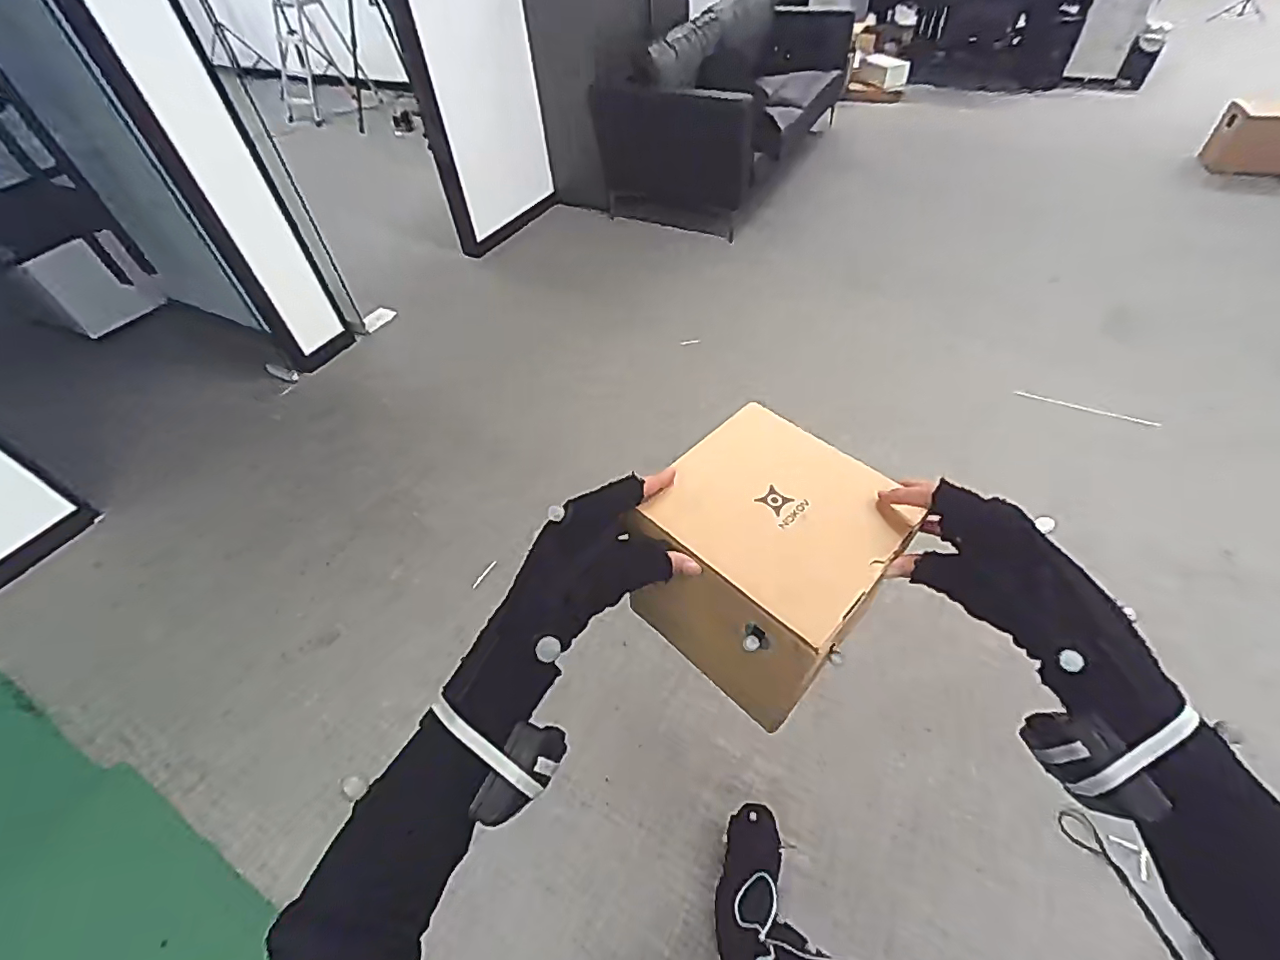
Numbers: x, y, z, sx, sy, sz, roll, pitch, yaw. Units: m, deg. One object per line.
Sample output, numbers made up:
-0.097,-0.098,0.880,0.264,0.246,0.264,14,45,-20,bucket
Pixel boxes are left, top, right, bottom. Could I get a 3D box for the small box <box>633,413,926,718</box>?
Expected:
0.108,0.077,0.487,0.179,0.176,0.168,37,58,27,small box
